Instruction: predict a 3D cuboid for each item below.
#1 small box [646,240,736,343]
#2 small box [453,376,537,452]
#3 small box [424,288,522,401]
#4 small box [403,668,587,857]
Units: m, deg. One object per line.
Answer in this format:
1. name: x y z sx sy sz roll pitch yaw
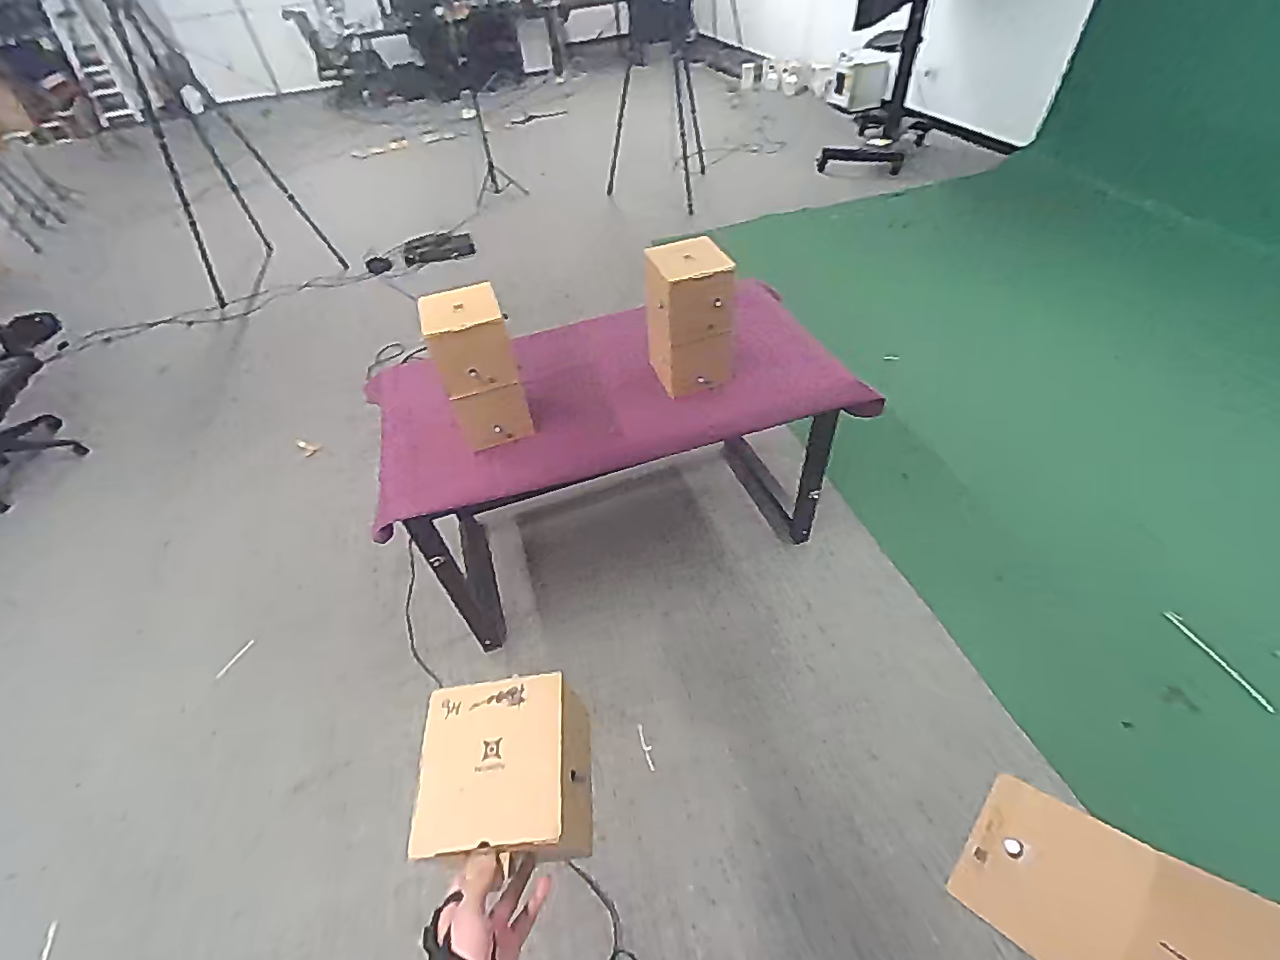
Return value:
1. small box: 0.122 -0.448 1.306 0.168 0.176 0.179 -16 48 -9
2. small box: -0.366 -0.198 1.353 0.168 0.176 0.179 -17 48 -9
3. small box: -0.379 -0.309 1.235 0.168 0.176 0.179 -17 48 -10
4. small box: -0.163 0.354 0.669 0.168 0.176 0.179 -9 52 3
